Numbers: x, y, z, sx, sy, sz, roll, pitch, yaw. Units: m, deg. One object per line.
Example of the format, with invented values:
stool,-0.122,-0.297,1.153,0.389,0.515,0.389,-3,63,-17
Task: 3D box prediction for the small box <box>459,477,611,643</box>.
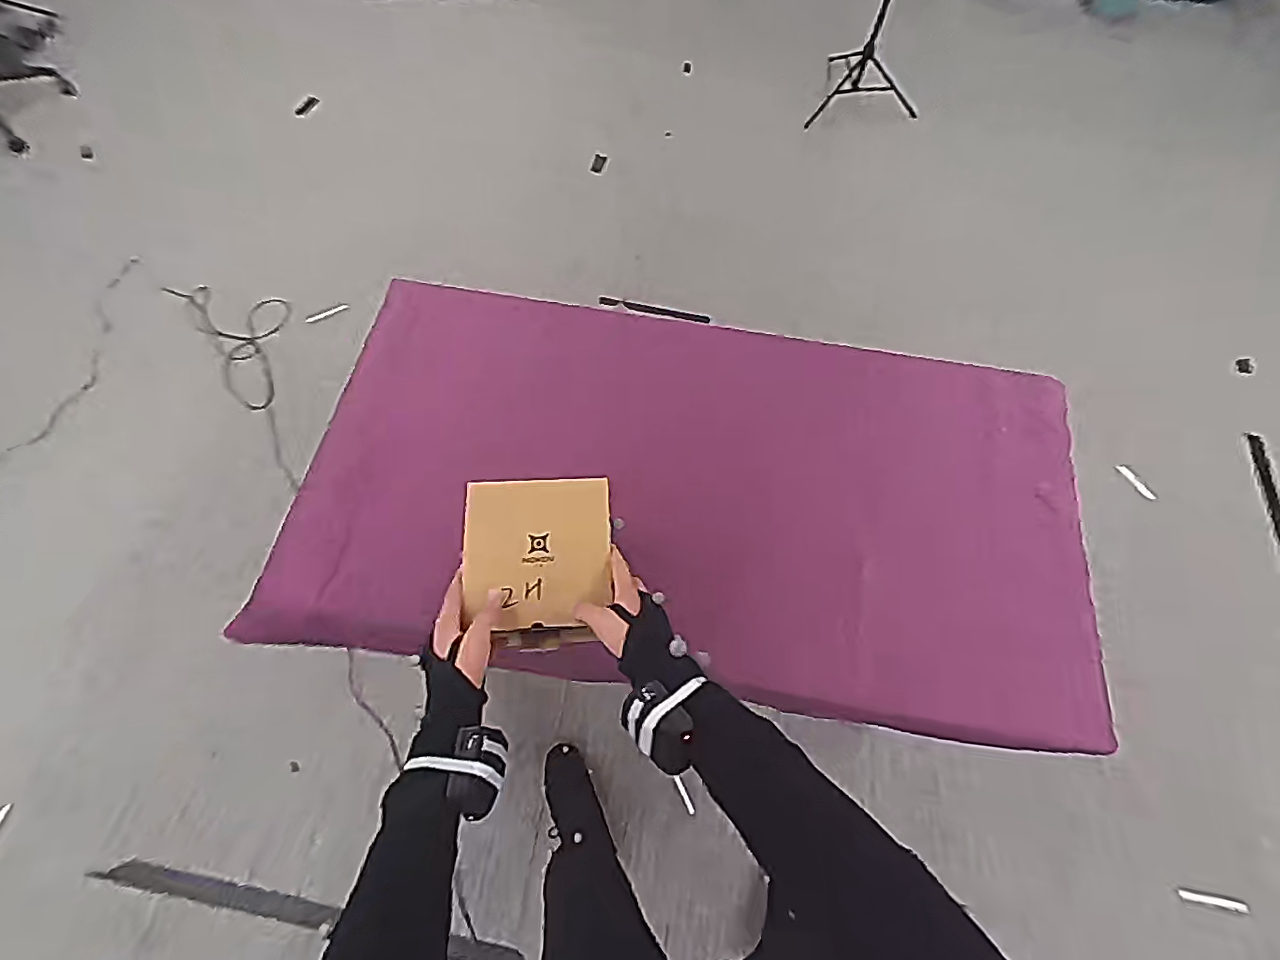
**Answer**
small box,-0.122,0.108,0.690,0.168,0.176,0.179,-1,69,-4
